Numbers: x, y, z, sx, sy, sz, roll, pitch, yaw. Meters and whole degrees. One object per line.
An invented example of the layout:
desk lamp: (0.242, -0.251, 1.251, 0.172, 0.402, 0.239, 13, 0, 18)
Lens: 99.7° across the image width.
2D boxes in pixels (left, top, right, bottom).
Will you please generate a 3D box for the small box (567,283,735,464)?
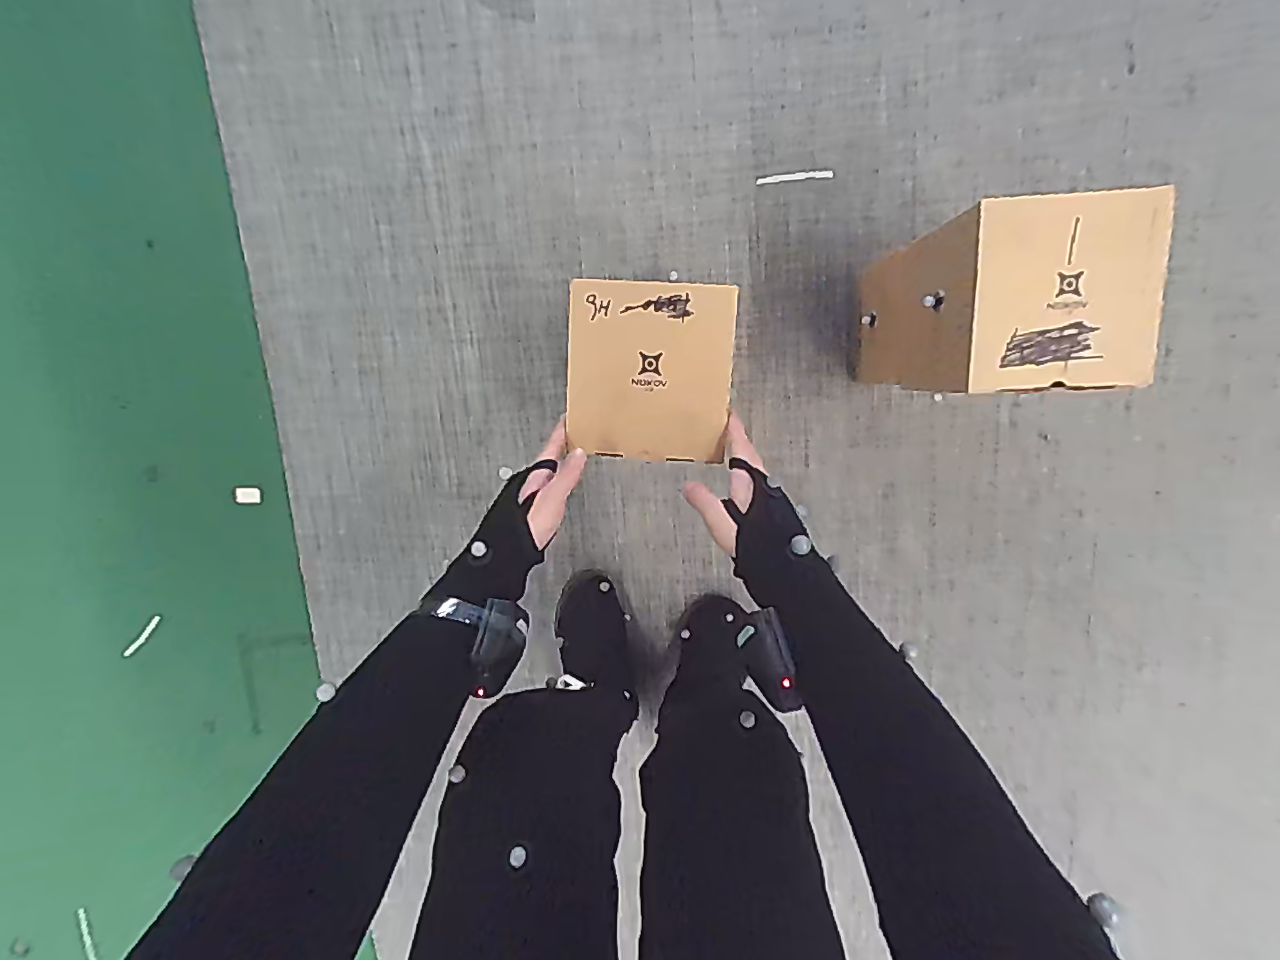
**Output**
small box: (0.015, -0.122, 0.631, 0.168, 0.176, 0.179, 4, 100, 3)

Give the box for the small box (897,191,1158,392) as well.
small box: (0.395, -0.187, 0.587, 0.168, 0.176, 0.179, -1, 99, 5)
